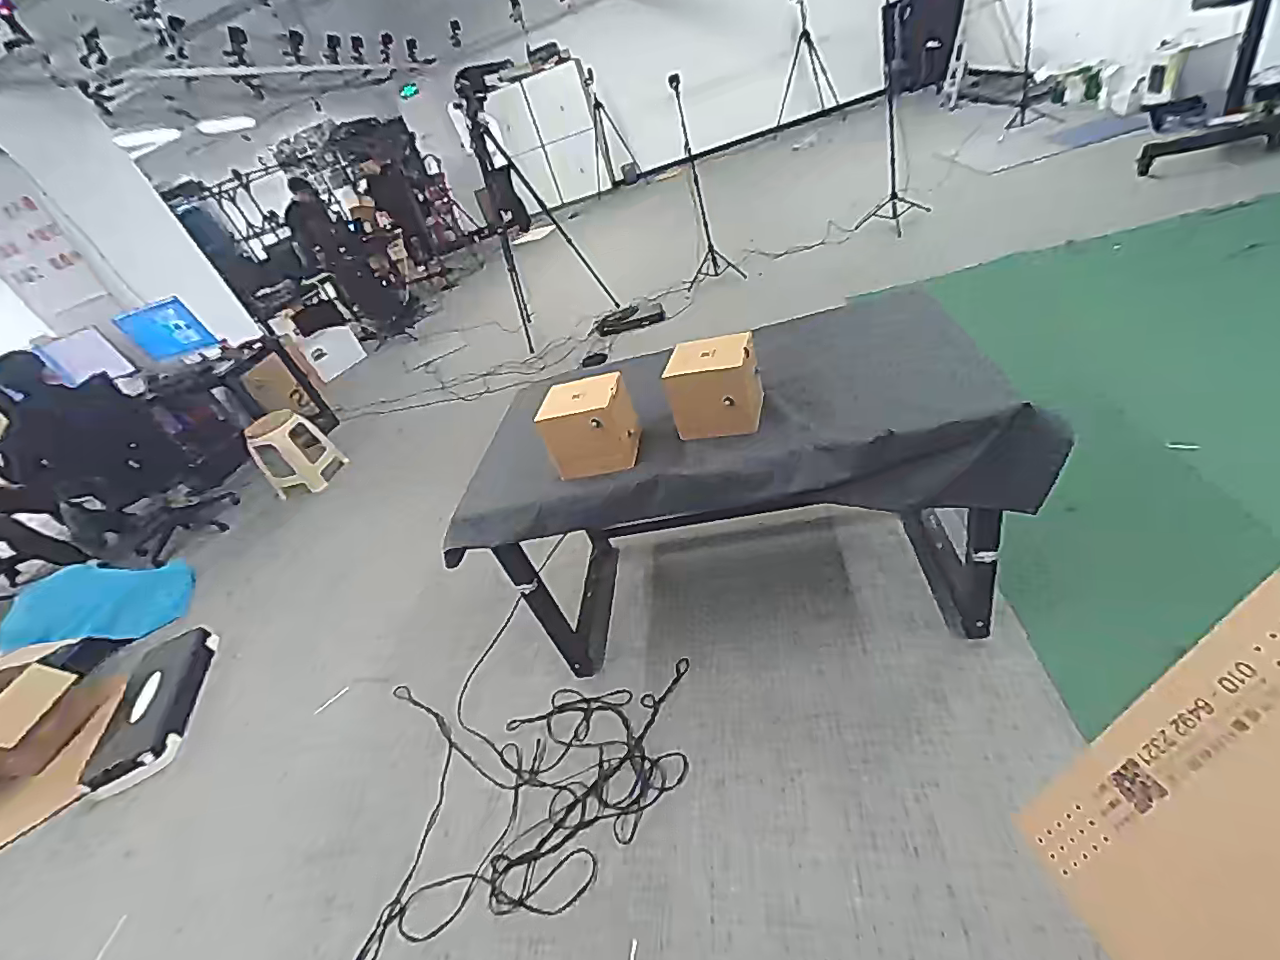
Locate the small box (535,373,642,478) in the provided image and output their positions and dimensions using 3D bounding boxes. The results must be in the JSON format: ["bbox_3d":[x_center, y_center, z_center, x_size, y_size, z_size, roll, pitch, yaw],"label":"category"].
[{"bbox_3d":[-0.111,-0.121,1.245,0.179,0.176,0.168,-10,35,16],"label":"small box"}]

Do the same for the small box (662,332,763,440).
[{"bbox_3d":[0.171,-0.207,1.212,0.179,0.176,0.168,-6,36,24],"label":"small box"}]
